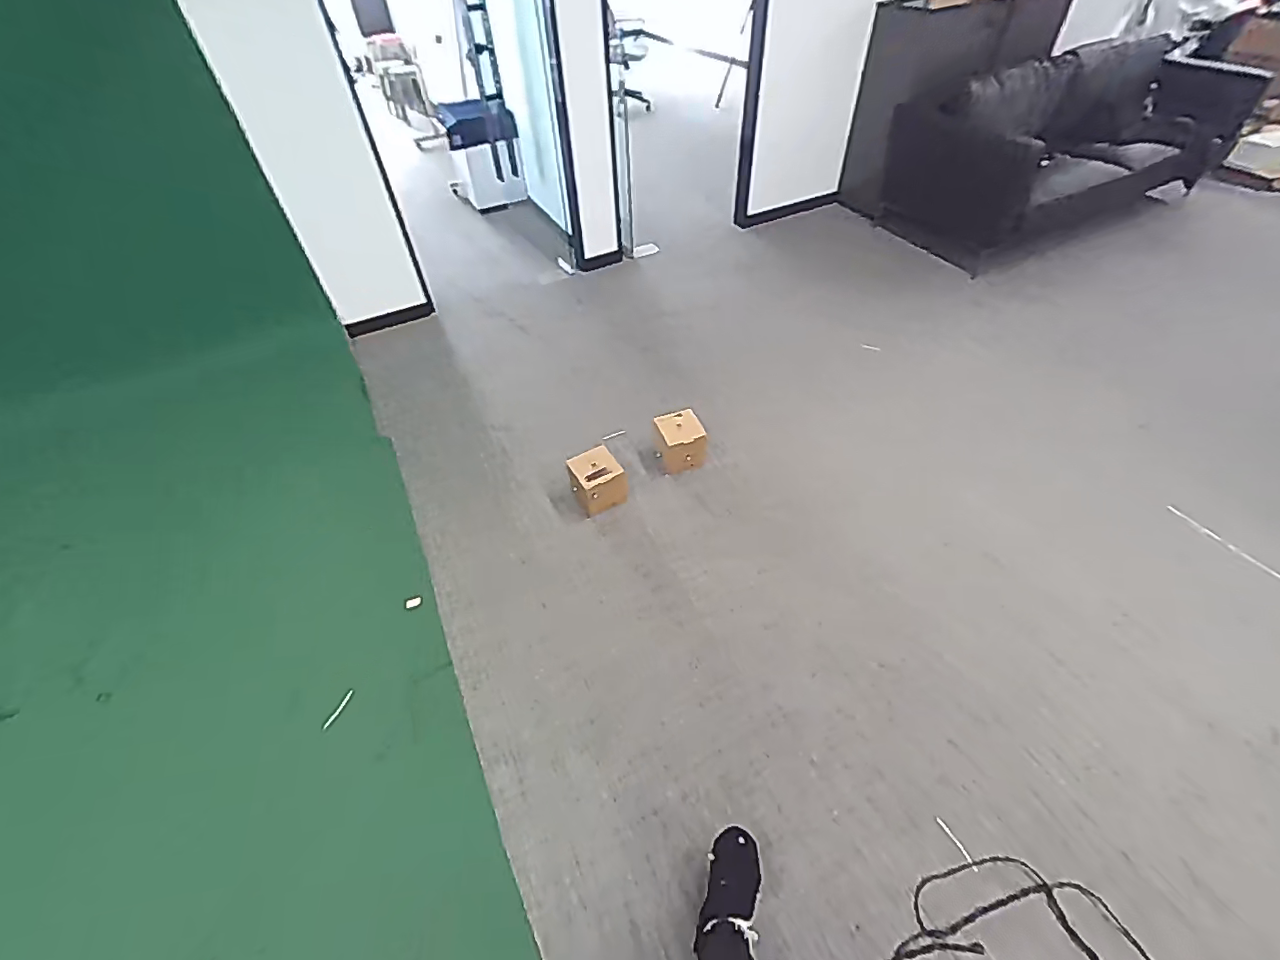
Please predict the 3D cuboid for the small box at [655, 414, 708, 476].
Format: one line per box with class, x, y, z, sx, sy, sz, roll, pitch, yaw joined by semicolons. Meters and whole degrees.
small box;0.168;-0.135;2.205;0.168;0.176;0.179;-16;49;-12
